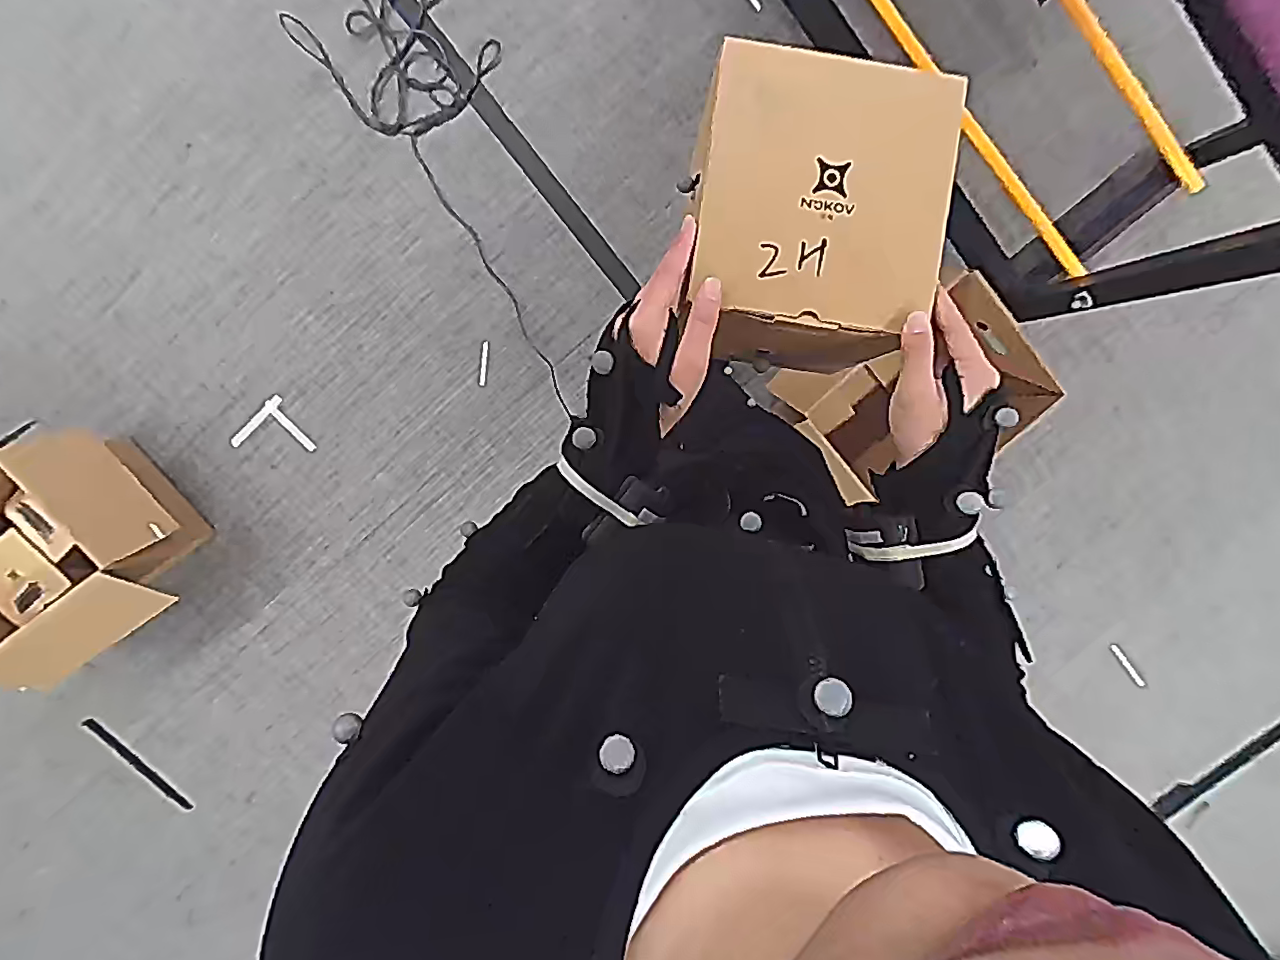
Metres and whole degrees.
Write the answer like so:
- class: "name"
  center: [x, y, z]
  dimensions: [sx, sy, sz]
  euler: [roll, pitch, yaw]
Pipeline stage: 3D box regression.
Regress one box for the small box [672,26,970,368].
- class: "small box"
  center: [0.122, -0.199, 0.434]
  dimensions: [0.168, 0.176, 0.179]
  euler: [8, 93, -2]
